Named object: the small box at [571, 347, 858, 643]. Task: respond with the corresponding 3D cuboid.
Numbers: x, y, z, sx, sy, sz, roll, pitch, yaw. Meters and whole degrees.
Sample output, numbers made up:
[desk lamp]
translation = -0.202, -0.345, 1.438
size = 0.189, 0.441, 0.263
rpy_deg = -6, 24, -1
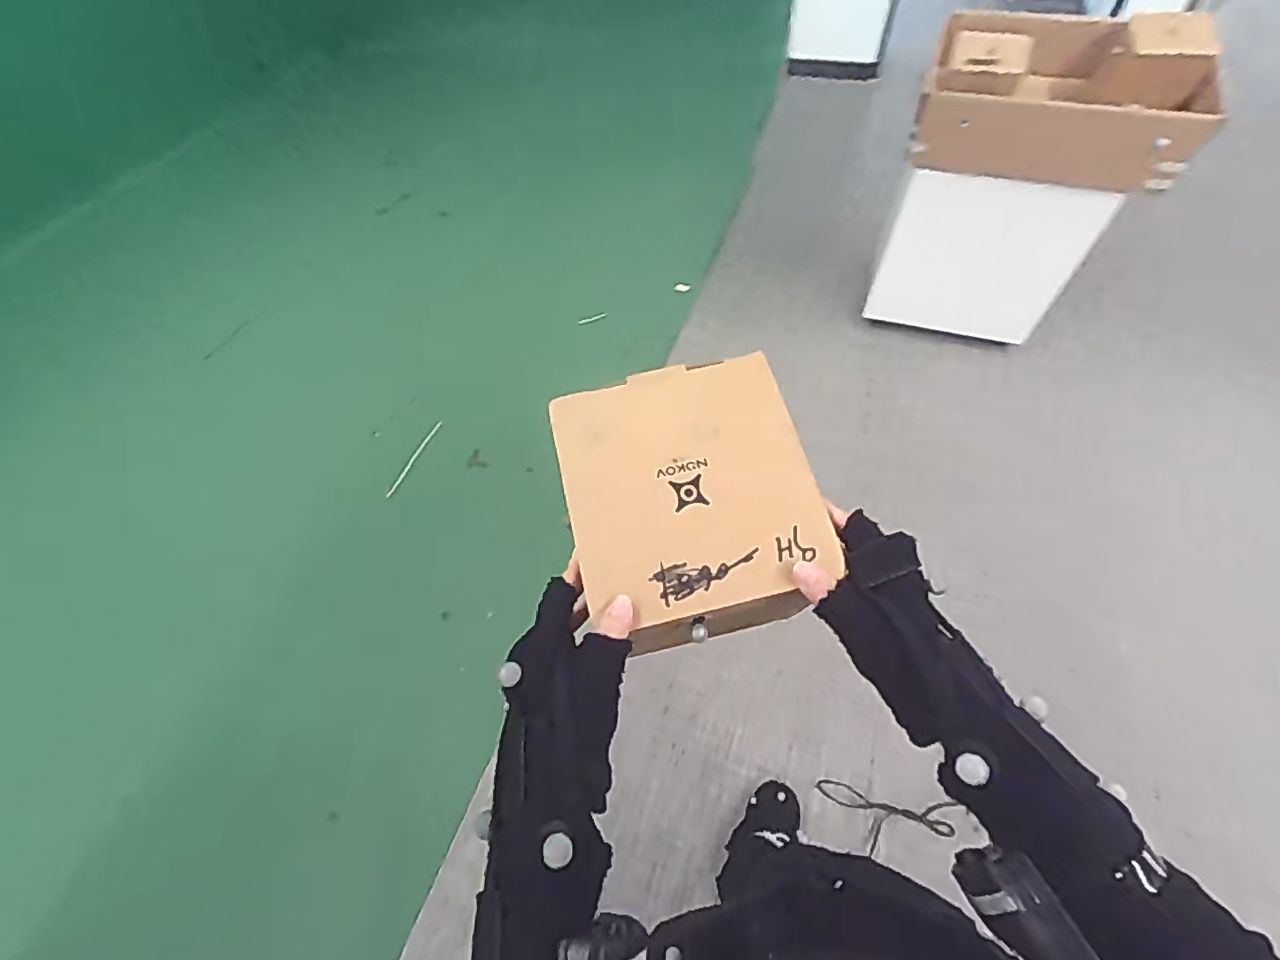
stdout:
[small box]
translation = 0.048, 0.023, 0.447
size = 0.168, 0.176, 0.179
rpy_deg = -13, 68, 0
